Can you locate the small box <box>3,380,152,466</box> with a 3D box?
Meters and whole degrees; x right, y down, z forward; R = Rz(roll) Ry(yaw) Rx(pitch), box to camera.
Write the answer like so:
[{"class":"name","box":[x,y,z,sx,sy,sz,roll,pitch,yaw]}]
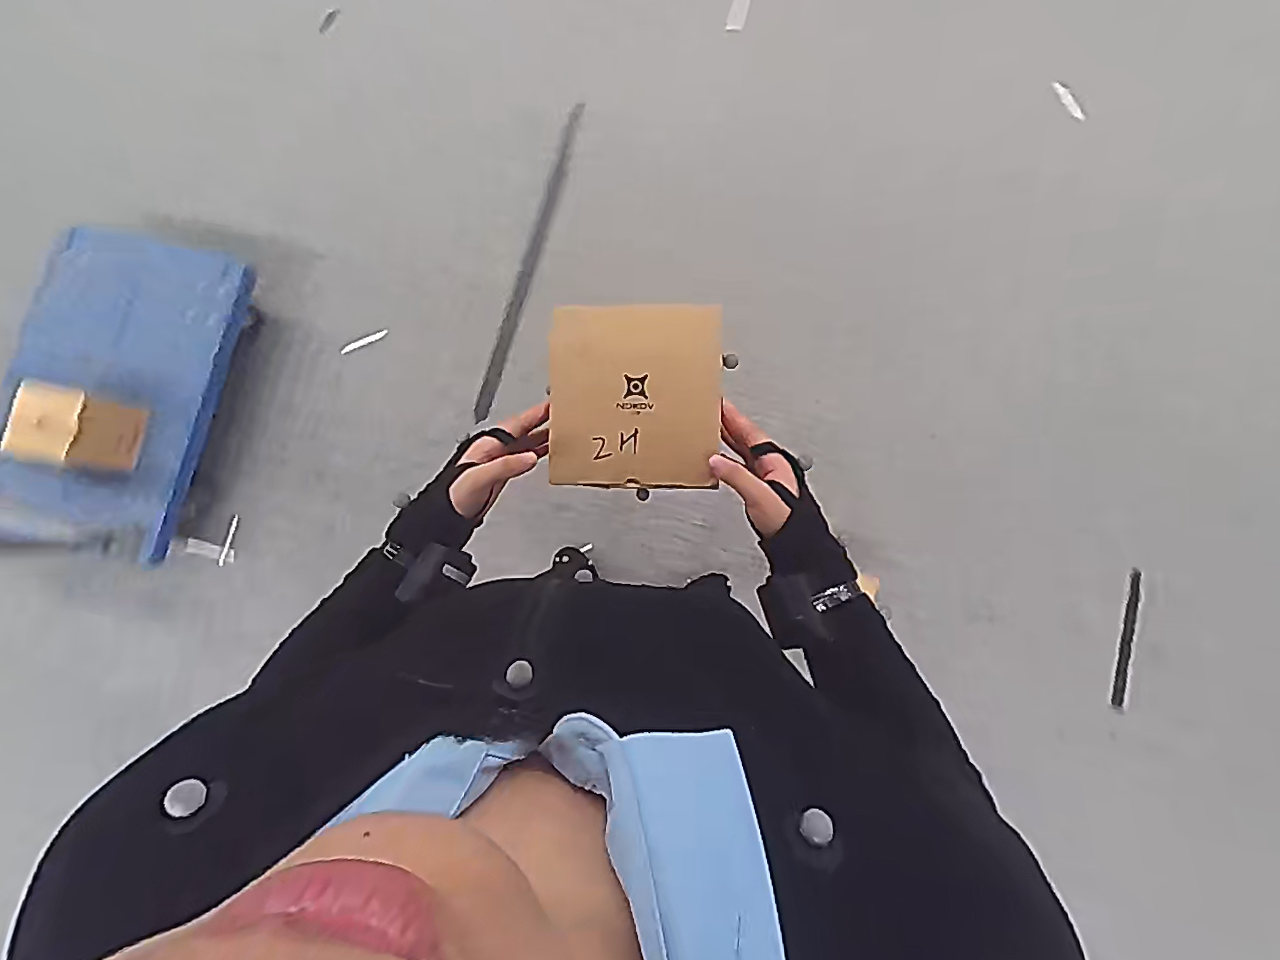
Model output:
[{"class":"small box","box":[-1.401,-0.137,1.357,0.179,0.176,0.168,10,84,4]}]
